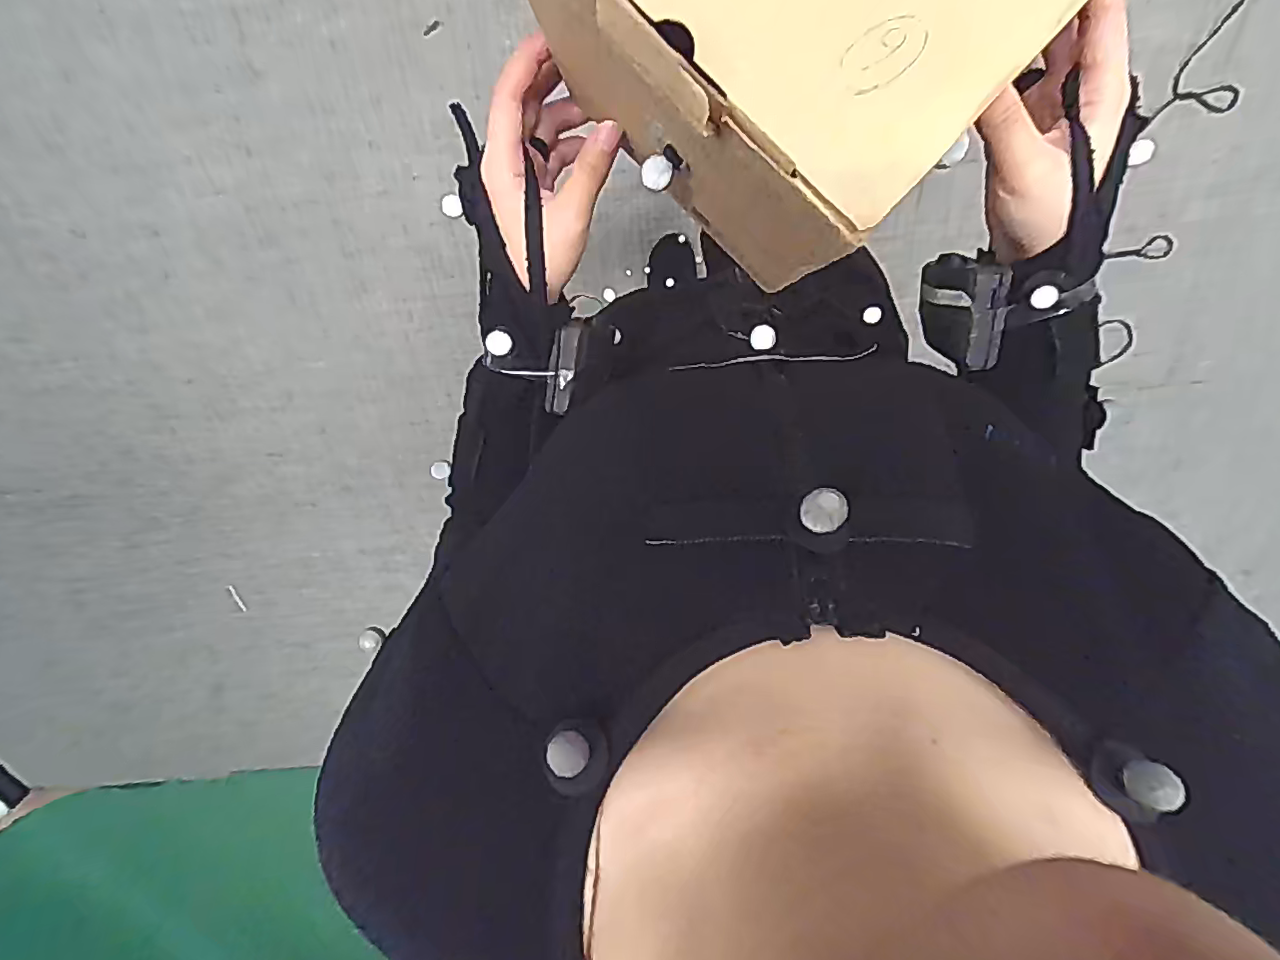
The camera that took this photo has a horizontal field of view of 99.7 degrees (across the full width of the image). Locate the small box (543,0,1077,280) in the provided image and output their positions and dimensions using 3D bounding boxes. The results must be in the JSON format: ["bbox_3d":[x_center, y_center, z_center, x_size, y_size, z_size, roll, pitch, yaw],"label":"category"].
[{"bbox_3d":[0.074,-0.212,0.236,0.168,0.176,0.179,41,103,-6],"label":"small box"}]
